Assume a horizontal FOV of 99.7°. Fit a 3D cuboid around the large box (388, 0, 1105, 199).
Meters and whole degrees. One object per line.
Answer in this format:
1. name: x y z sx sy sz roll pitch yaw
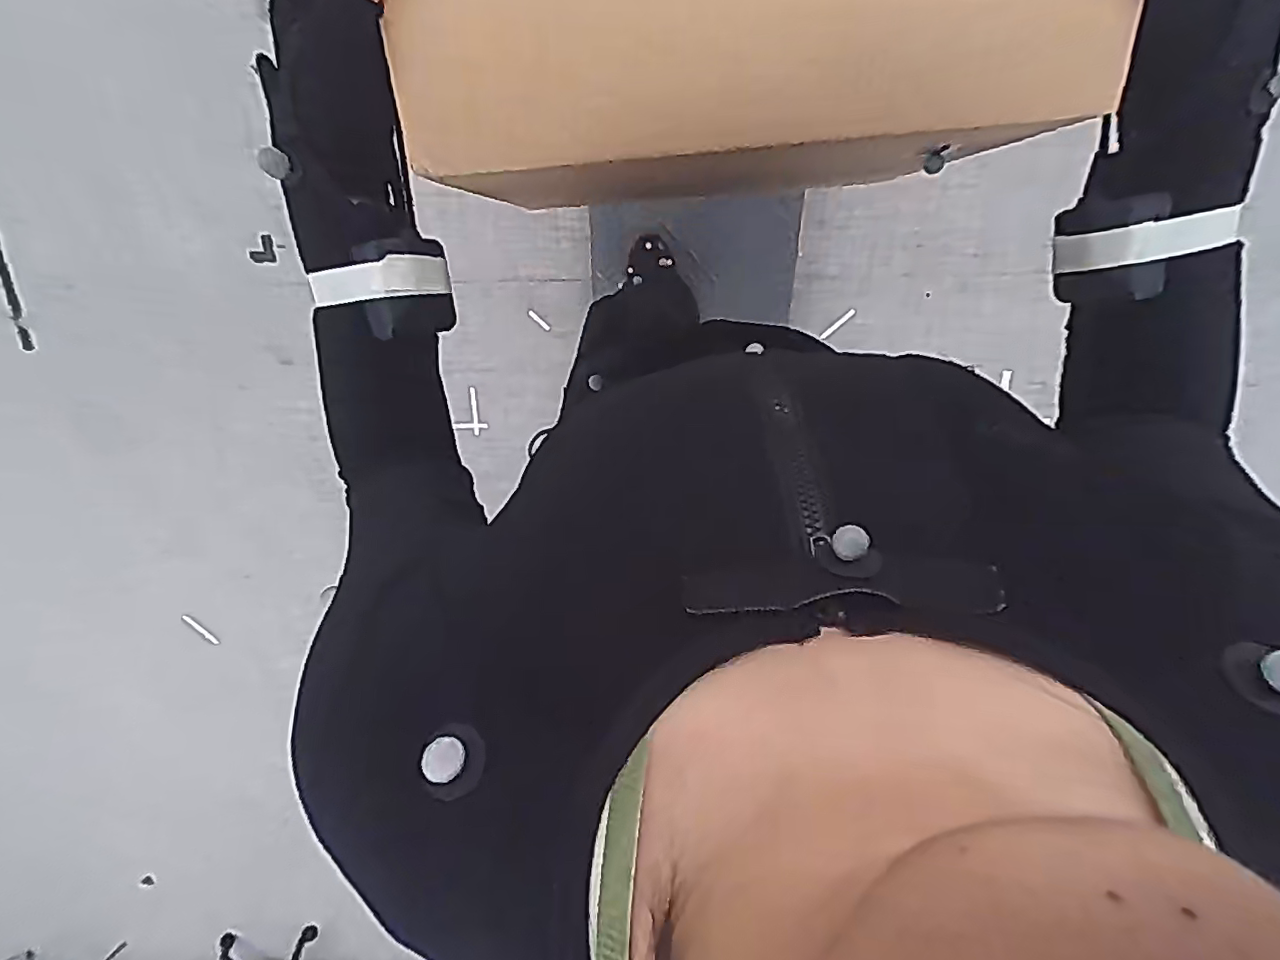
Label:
1. large box: 0.055 -0.404 0.400 0.408 0.320 0.320 -3 113 3
